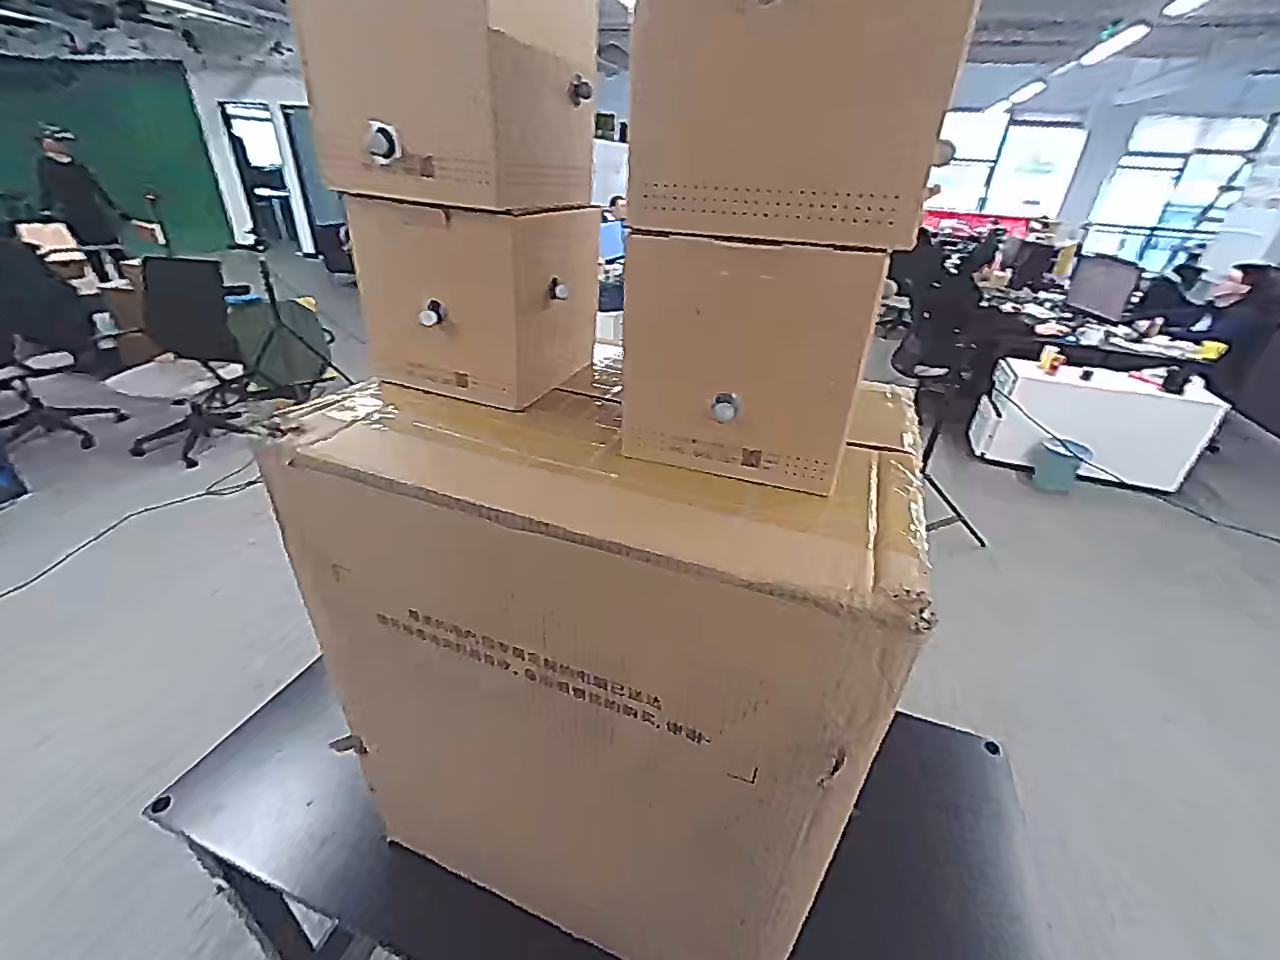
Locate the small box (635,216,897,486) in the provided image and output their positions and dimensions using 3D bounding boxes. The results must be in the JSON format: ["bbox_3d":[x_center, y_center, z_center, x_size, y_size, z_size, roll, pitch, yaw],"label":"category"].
[{"bbox_3d":[0.098,-0.117,0.439,0.168,0.176,0.179,12,31,17],"label":"small box"}]

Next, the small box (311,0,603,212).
[{"bbox_3d":[-0.141,-0.326,0.448,0.168,0.176,0.179,12,31,14],"label":"small box"}]

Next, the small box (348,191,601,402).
[{"bbox_3d":[-0.146,-0.191,0.541,0.168,0.176,0.179,14,32,14],"label":"small box"}]

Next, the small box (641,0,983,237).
[{"bbox_3d":[0.107,-0.256,0.351,0.179,0.176,0.168,13,31,16],"label":"small box"}]
